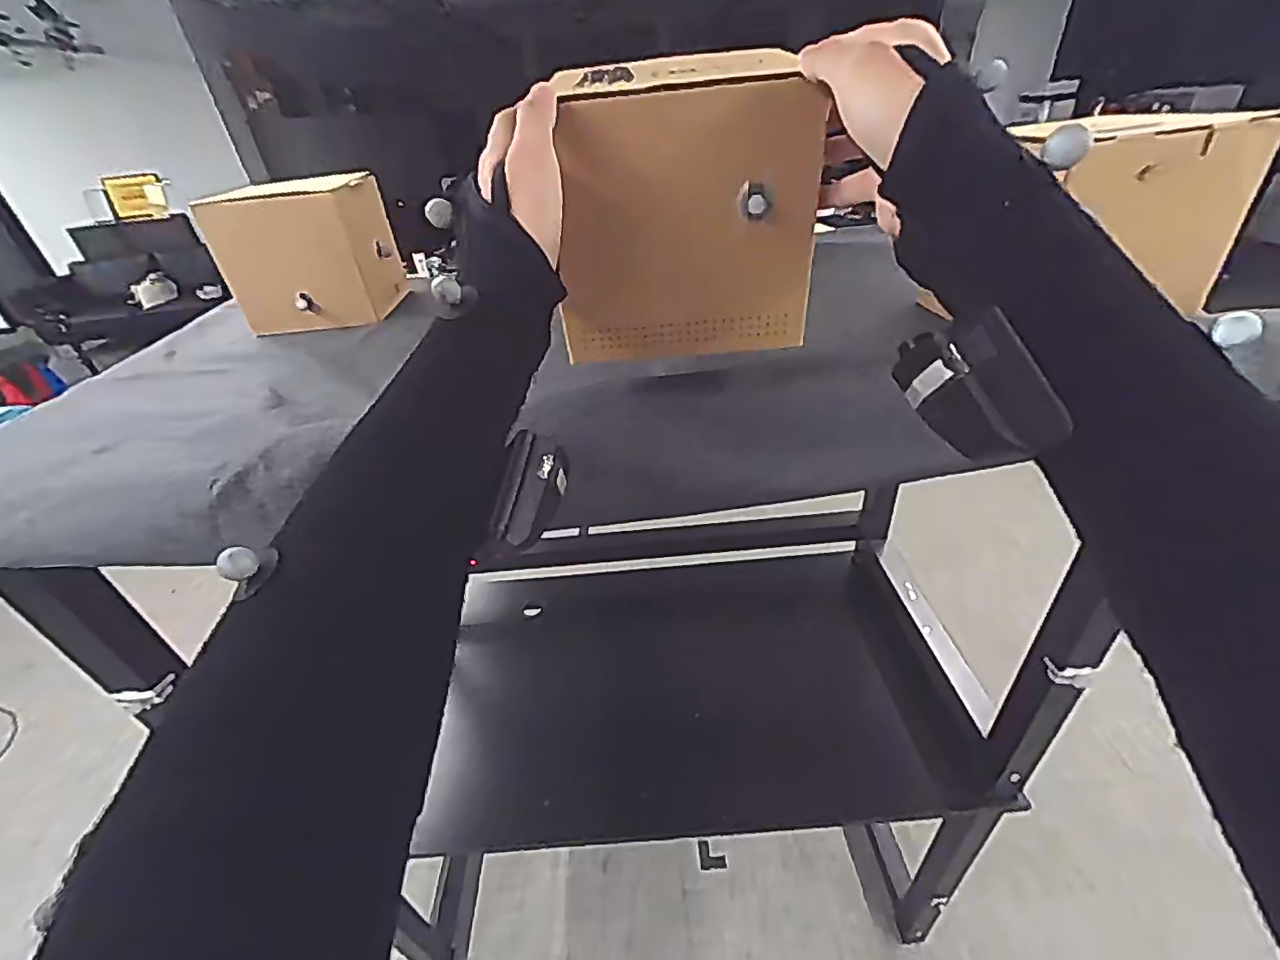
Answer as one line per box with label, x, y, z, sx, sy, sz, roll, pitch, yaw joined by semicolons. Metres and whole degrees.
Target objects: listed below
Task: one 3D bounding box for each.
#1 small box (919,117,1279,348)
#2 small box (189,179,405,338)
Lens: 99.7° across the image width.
small box;0.397;-0.231;0.512;0.168;0.176;0.179;-7;34;-1
small box;-0.456;-0.312;0.759;0.179;0.176;0.168;-6;35;-2
